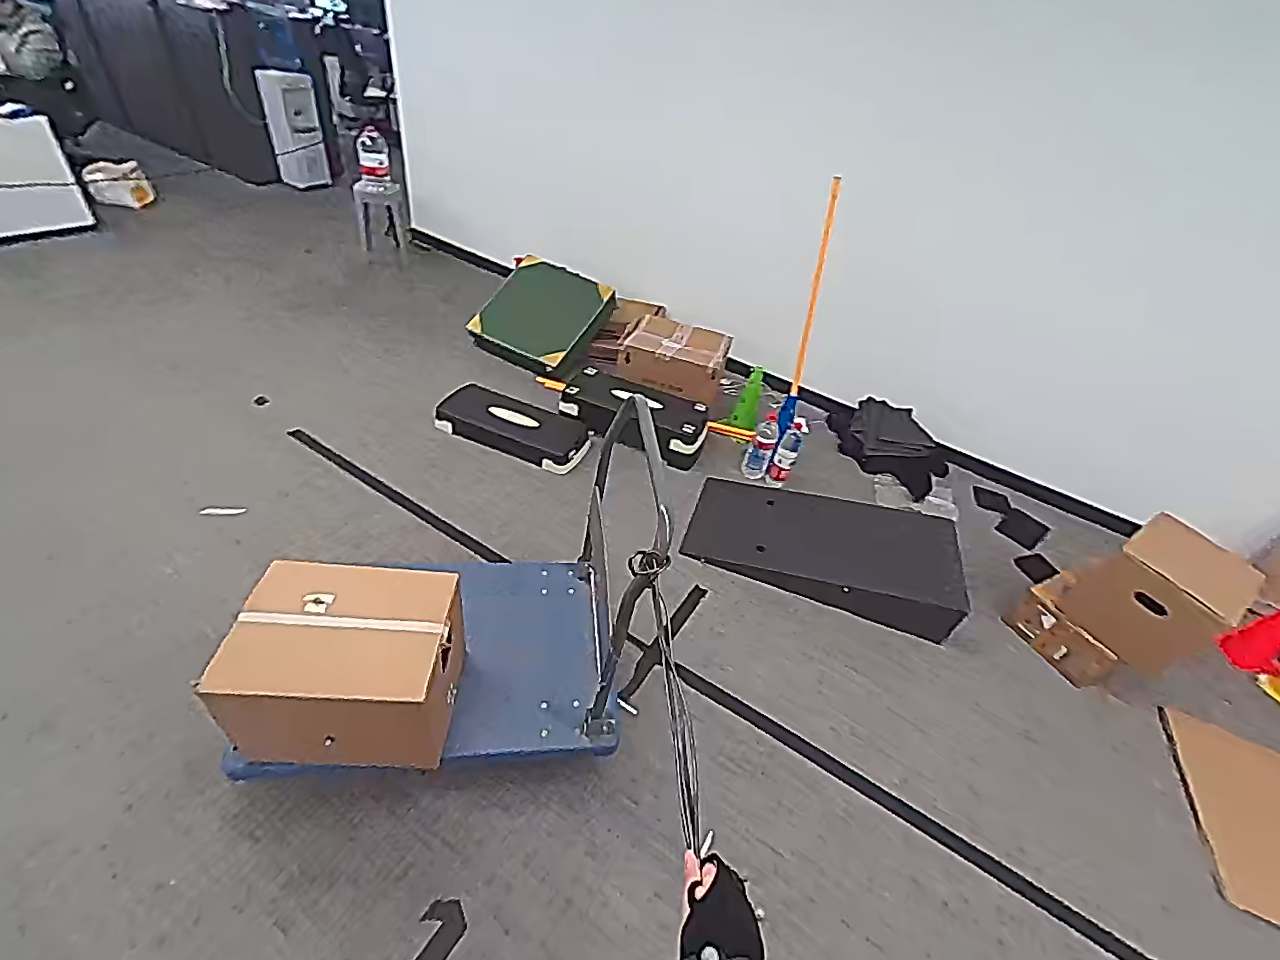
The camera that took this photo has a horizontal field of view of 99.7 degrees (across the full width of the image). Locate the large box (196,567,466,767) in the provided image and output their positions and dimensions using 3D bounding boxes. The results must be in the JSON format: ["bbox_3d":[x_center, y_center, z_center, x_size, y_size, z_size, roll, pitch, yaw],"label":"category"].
[{"bbox_3d":[-0.625,0.418,1.198,0.408,0.320,0.320,5,40,-7],"label":"large box"}]
